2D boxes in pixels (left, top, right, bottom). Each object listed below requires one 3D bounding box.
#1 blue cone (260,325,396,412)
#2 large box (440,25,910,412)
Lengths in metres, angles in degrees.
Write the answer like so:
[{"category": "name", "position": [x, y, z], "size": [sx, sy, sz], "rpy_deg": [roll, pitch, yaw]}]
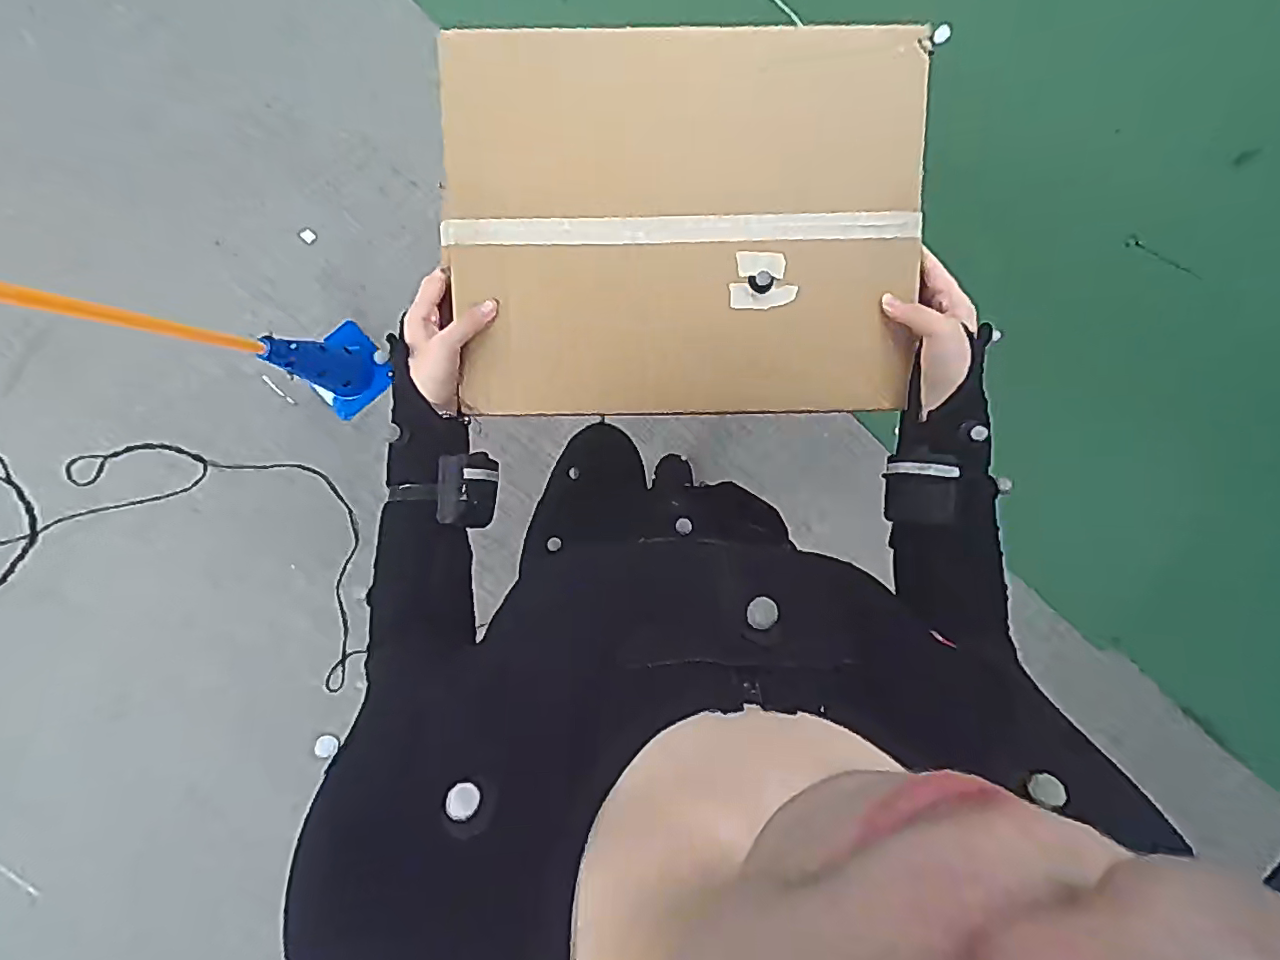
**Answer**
[{"category": "blue cone", "position": [-0.766, -0.286, 1.274], "size": [0.192, 0.380, 0.193], "rpy_deg": [-39, 95, -1]}, {"category": "large box", "position": [0.031, -0.242, 0.619], "size": [0.408, 0.320, 0.320], "rpy_deg": [-2, 98, -1]}]
